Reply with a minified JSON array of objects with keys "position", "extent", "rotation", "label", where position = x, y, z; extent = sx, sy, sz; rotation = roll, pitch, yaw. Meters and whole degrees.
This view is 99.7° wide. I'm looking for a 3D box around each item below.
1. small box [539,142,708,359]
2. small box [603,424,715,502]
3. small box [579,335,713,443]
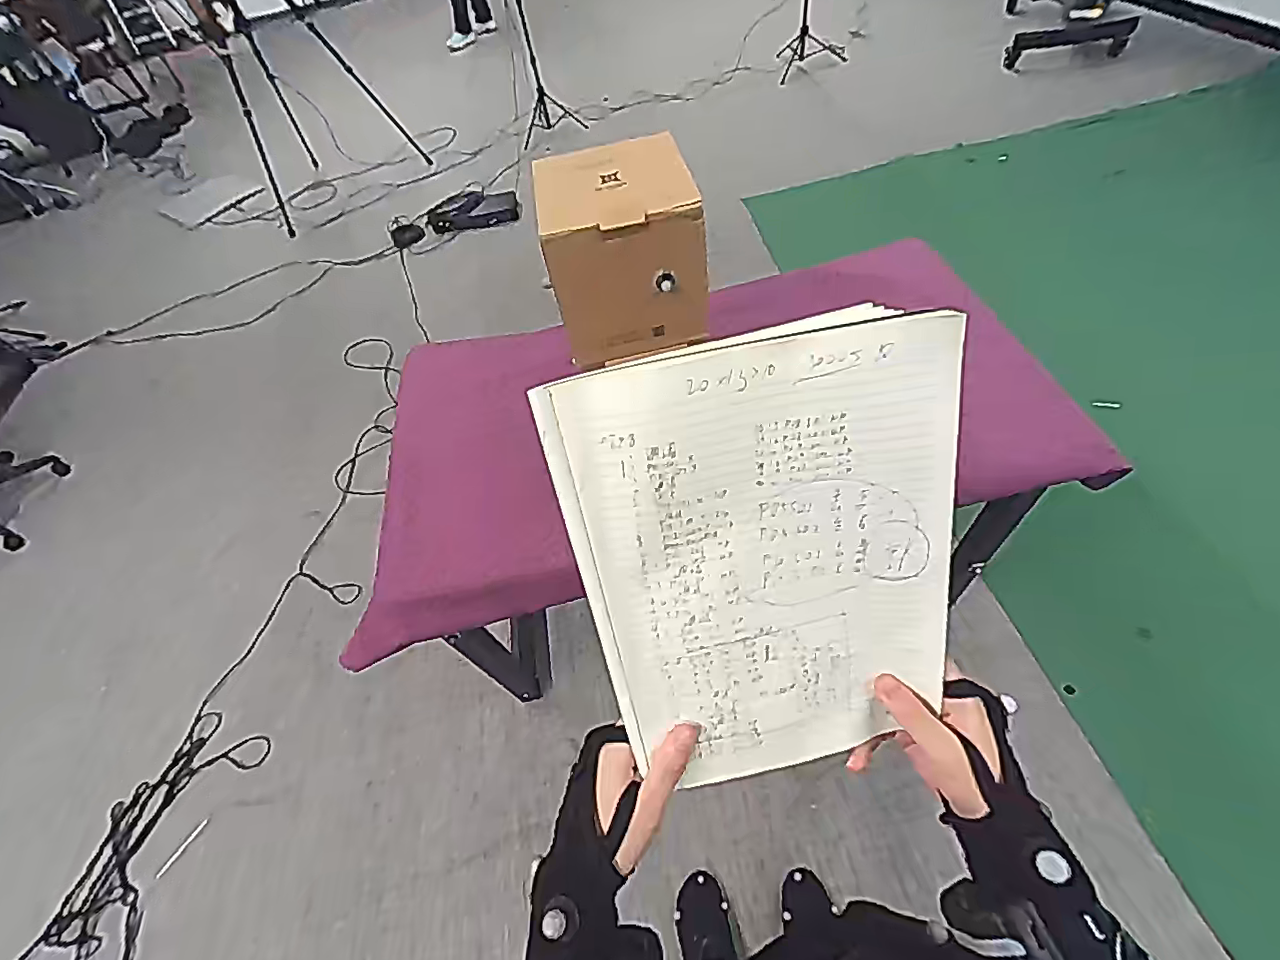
[{"position":[-0.016,-0.263,0.645],"extent":[0.168,0.176,0.179],"rotation":[-11,52,1],"label":"small box"},{"position":[0.028,-0.079,0.912],"extent":[0.168,0.176,0.179],"rotation":[-12,53,0],"label":"small box"},{"position":[0.006,-0.171,0.777],"extent":[0.168,0.176,0.179],"rotation":[-12,52,1],"label":"small box"}]
